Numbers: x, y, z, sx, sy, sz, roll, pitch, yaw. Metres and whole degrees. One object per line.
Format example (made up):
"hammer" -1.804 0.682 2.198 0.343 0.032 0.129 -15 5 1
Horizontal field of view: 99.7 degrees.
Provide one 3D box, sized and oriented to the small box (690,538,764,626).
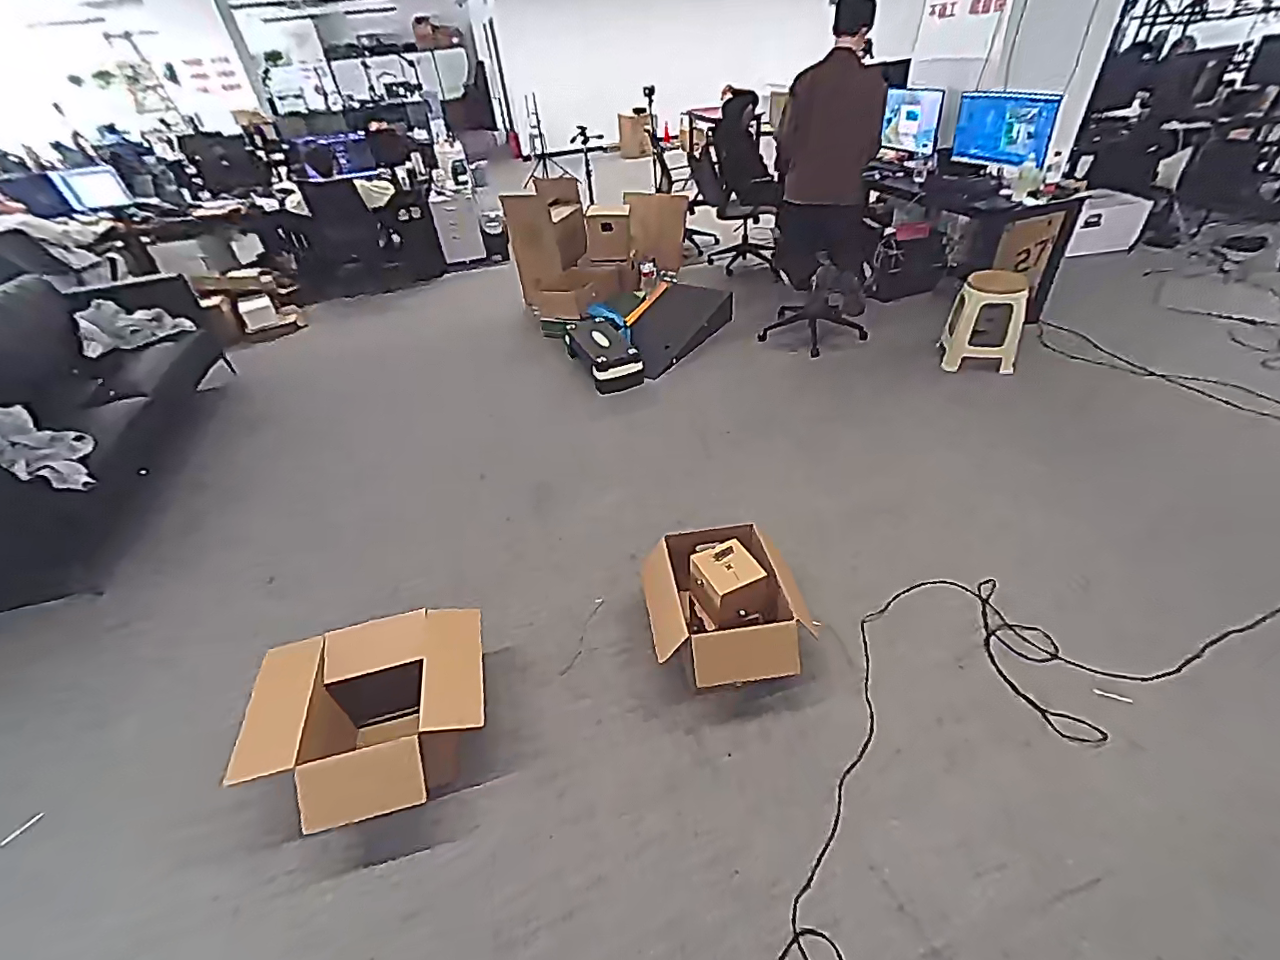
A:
"small box" 0.263 0.315 1.664 0.168 0.176 0.179 -18 40 -14
